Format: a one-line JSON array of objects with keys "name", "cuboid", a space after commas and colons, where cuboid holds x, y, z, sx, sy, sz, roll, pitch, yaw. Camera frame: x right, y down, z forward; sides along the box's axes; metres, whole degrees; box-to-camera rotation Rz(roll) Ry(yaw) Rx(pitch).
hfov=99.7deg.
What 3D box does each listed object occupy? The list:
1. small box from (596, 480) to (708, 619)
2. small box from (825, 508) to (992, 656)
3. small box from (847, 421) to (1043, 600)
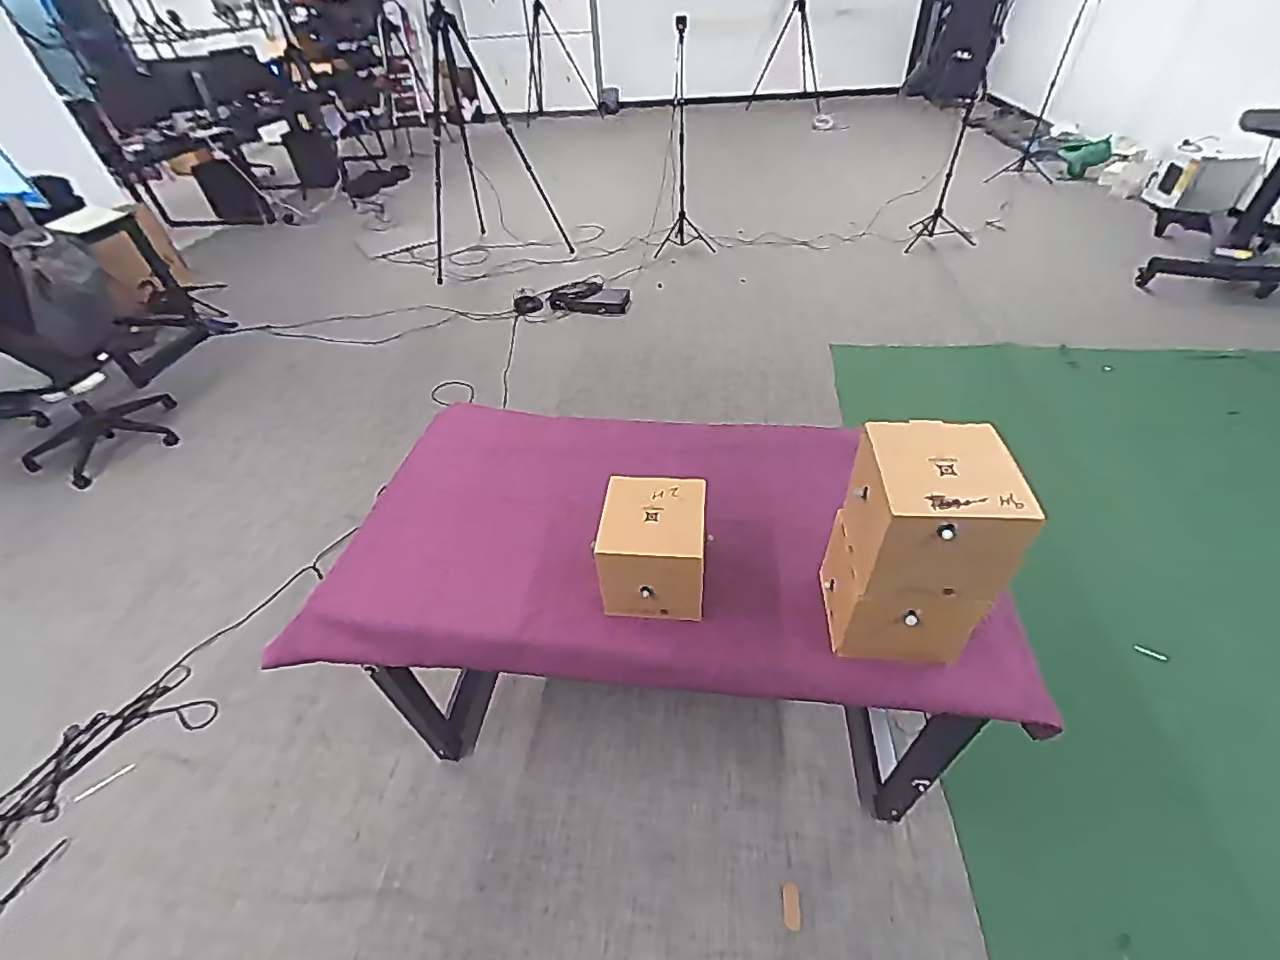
[{"name": "small box", "cuboid": [0.030, 0.119, 0.923, 0.168, 0.176, 0.179, 2, 42, 8]}, {"name": "small box", "cuboid": [0.399, 0.159, 0.838, 0.179, 0.176, 0.168, -1, 44, 8]}, {"name": "small box", "cuboid": [0.387, 0.038, 0.727, 0.168, 0.176, 0.179, -1, 43, 9]}]
